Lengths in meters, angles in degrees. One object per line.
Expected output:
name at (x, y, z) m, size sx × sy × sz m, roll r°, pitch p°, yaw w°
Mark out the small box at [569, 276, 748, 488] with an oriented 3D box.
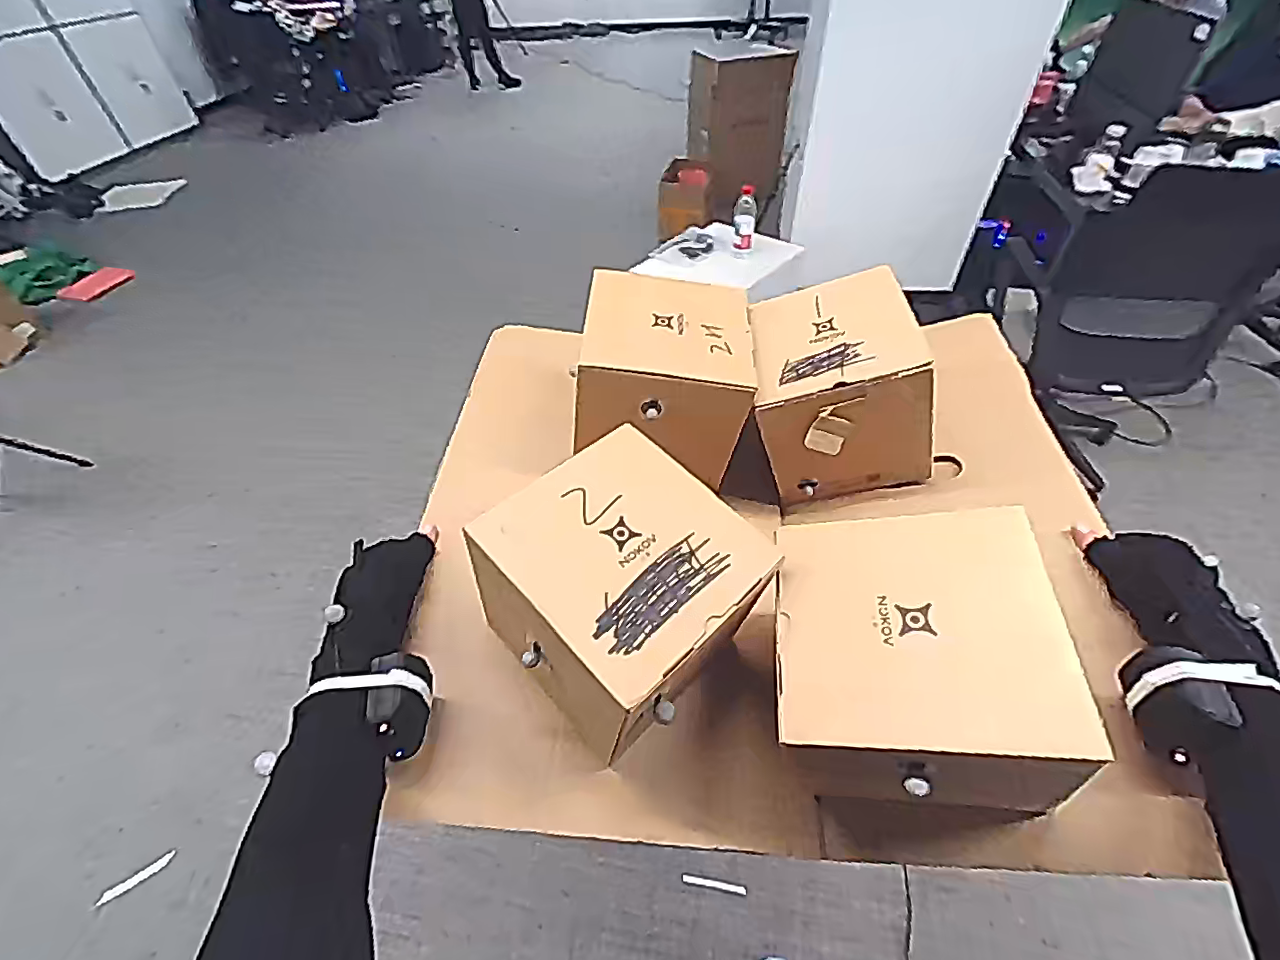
small box at (0.014, -0.107, 0.624) m, size 0.179 × 0.176 × 0.168 m, roll 7°, pitch 52°, yaw -4°
